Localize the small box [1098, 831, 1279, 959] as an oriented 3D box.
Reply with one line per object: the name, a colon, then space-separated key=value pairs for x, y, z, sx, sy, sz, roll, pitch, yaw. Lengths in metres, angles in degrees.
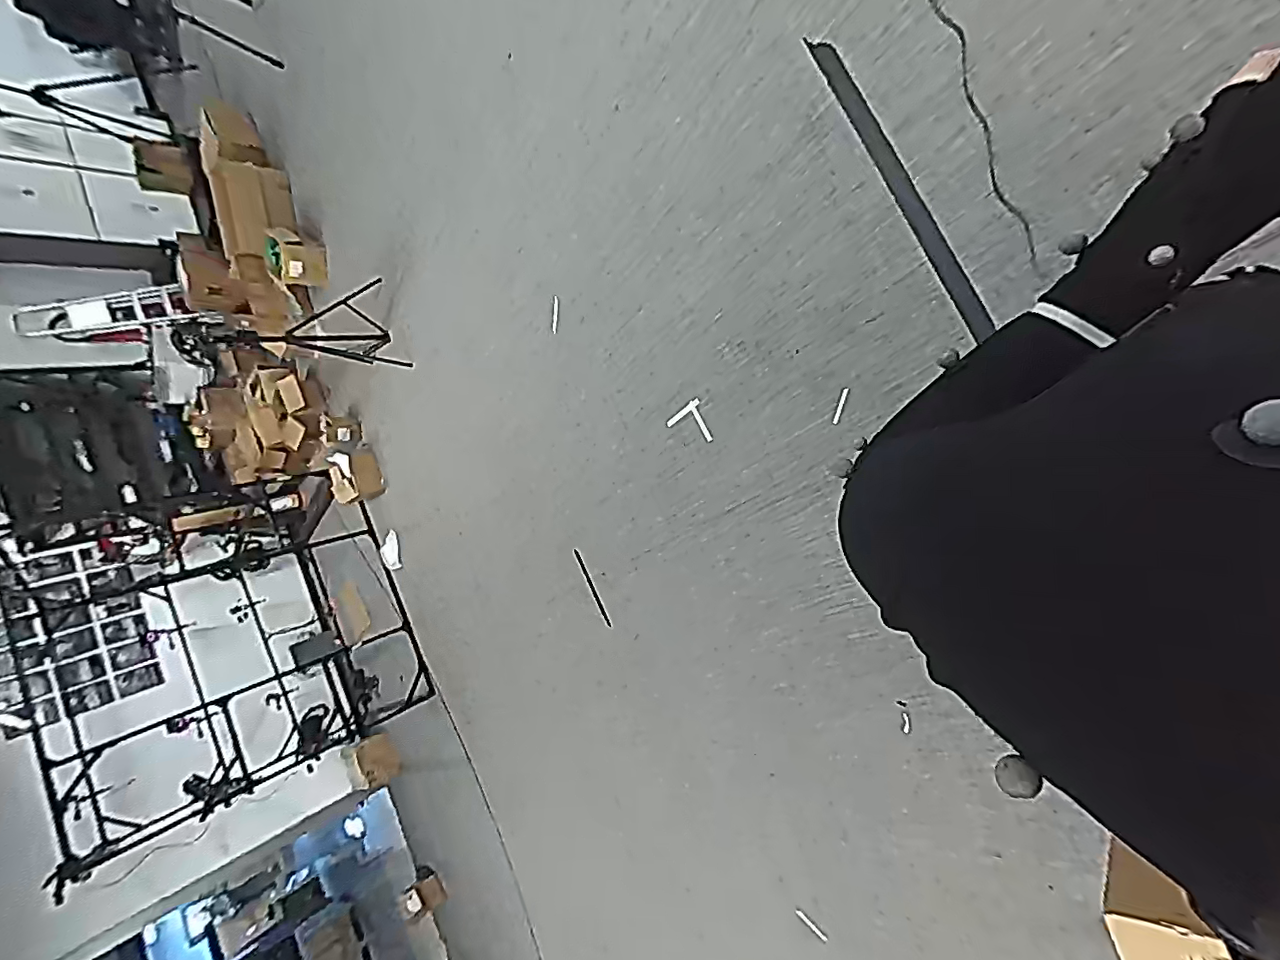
small box: x=0.776 y=0.638 z=0.749 sx=0.168 sy=0.176 sz=0.179 roll=-23 pitch=86 yaw=46
